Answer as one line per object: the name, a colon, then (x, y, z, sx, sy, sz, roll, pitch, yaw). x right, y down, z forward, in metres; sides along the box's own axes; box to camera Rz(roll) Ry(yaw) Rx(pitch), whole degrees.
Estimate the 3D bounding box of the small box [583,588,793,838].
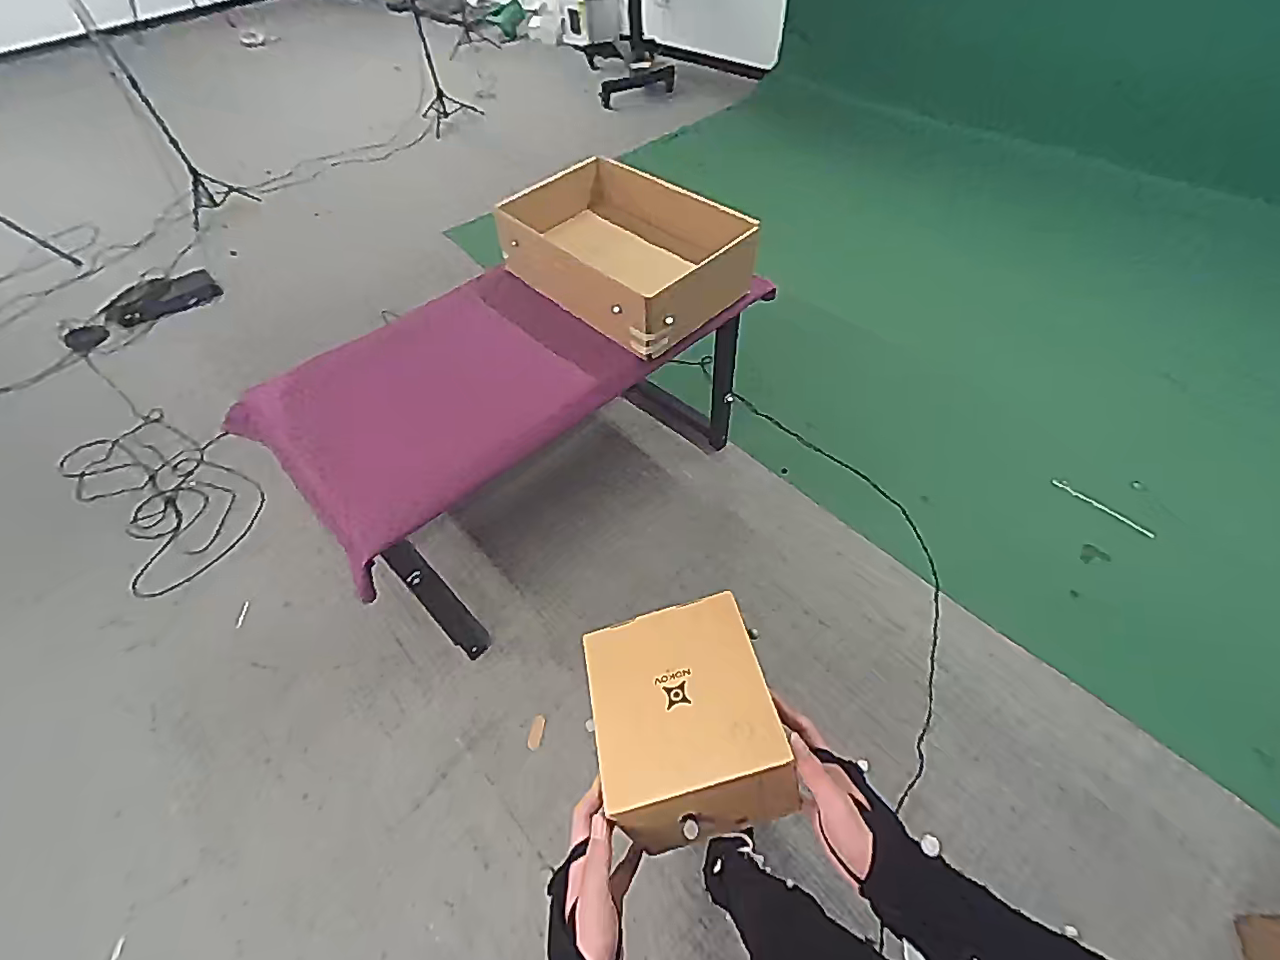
small box: (0.051, 0.249, 0.564, 0.168, 0.176, 0.179, -18, 43, 2)
